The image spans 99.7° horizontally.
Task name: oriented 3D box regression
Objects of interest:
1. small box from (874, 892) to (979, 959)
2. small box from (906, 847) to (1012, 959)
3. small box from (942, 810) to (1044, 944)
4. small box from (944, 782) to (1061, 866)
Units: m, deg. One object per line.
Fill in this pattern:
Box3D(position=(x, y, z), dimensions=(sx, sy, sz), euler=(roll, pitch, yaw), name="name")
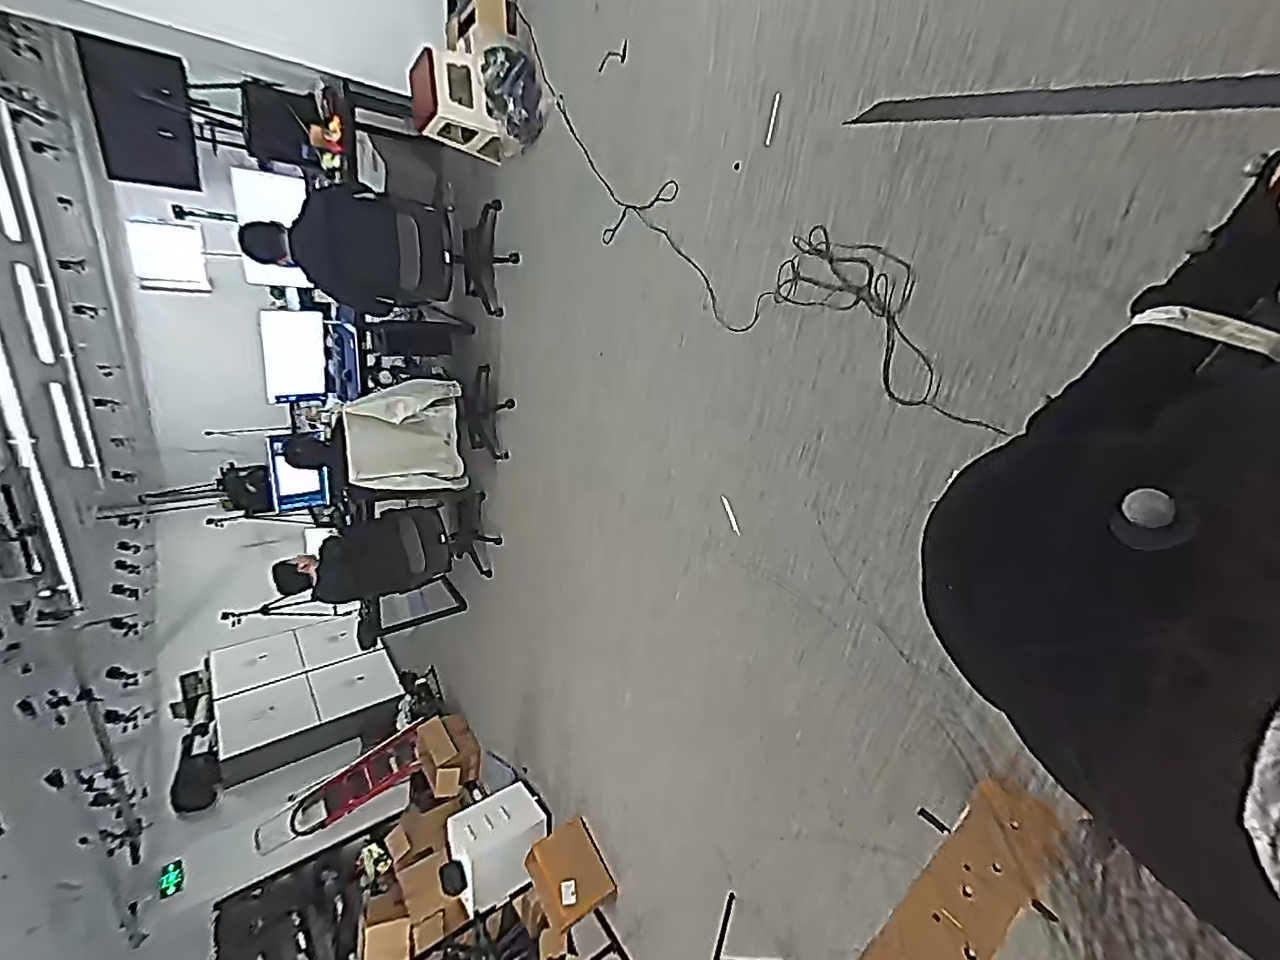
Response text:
Box3D(position=(0.556, 0.989, 1.083), dimensions=(0.168, 0.176, 0.179), euler=(33, 124, 42), name="small box")
Box3D(position=(0.680, 0.962, 1.187), dimensions=(0.168, 0.176, 0.179), euler=(34, 123, 41), name="small box")
Box3D(position=(0.811, 0.939, 1.282), dimensions=(0.179, 0.176, 0.168), euler=(35, 123, 41), name="small box")
Box3D(position=(0.932, 0.915, 1.391), dimensions=(0.179, 0.176, 0.168), euler=(32, 122, 42), name="small box")
